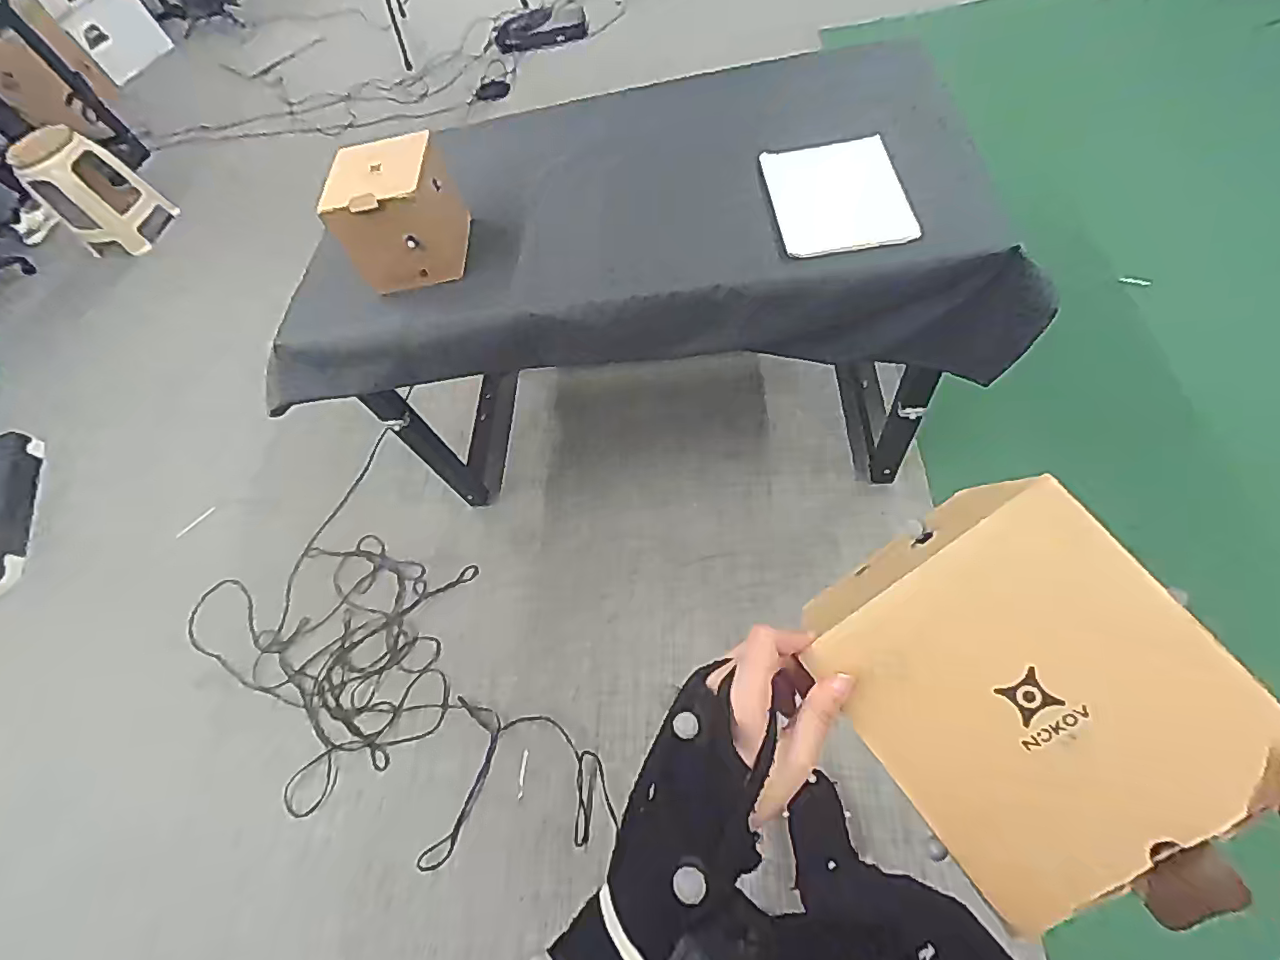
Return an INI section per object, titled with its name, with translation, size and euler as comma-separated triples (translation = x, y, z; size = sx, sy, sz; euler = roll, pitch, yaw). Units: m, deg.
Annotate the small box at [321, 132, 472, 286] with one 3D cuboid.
[small box]
translation = -0.406, -0.457, 0.938
size = 0.168, 0.176, 0.179
euler = -7, 59, 6
